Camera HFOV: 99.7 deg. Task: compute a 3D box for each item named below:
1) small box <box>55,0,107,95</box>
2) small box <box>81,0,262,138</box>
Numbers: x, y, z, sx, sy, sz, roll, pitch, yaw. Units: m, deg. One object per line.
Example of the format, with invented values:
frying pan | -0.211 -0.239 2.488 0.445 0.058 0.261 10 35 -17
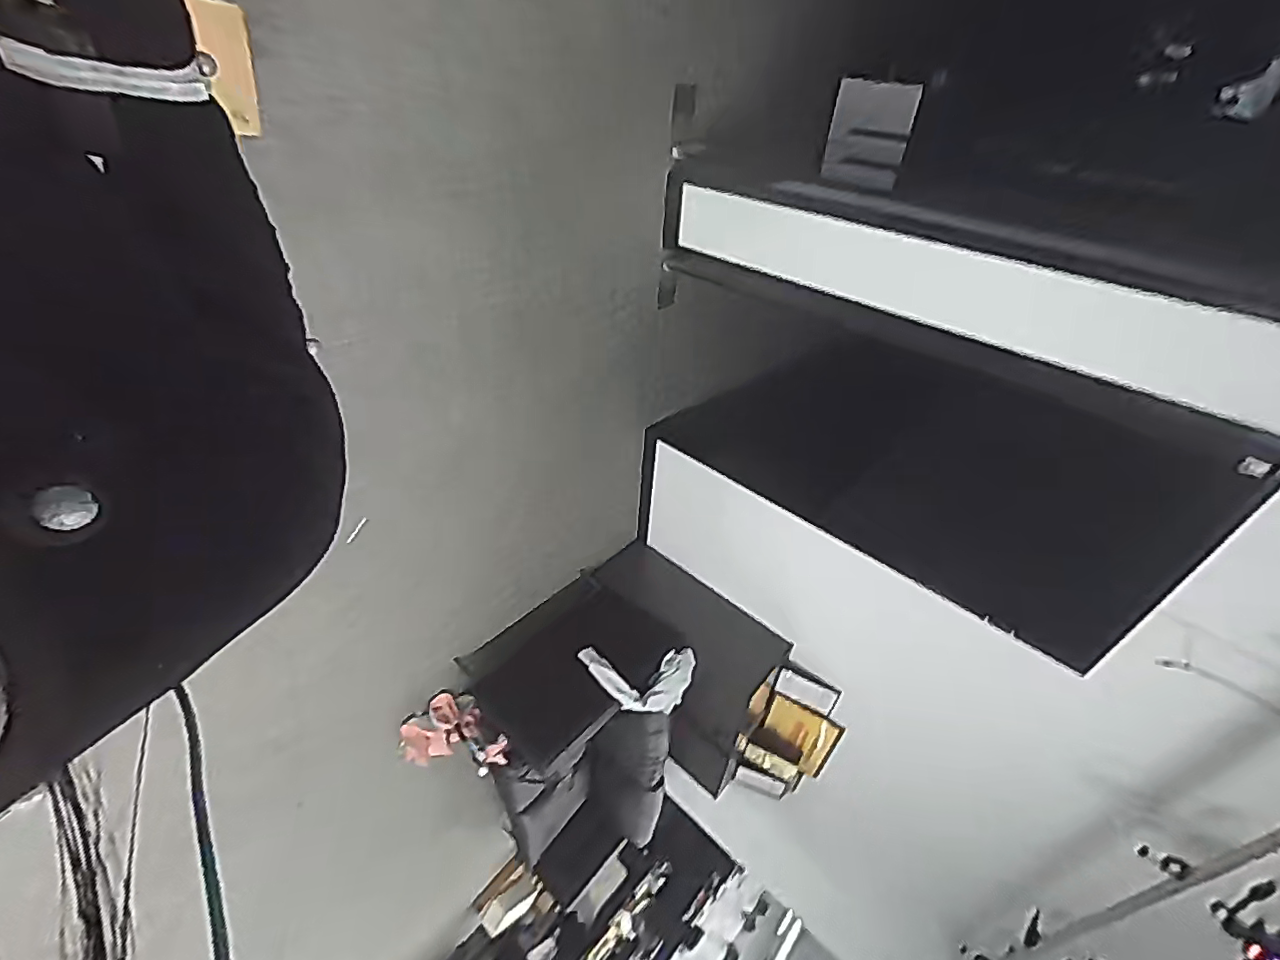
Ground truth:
small box | -0.852 -0.749 0.927 0.179 0.176 0.168 -24 135 -44
small box | -0.734 -0.661 0.852 0.168 0.176 0.179 -24 134 -44
